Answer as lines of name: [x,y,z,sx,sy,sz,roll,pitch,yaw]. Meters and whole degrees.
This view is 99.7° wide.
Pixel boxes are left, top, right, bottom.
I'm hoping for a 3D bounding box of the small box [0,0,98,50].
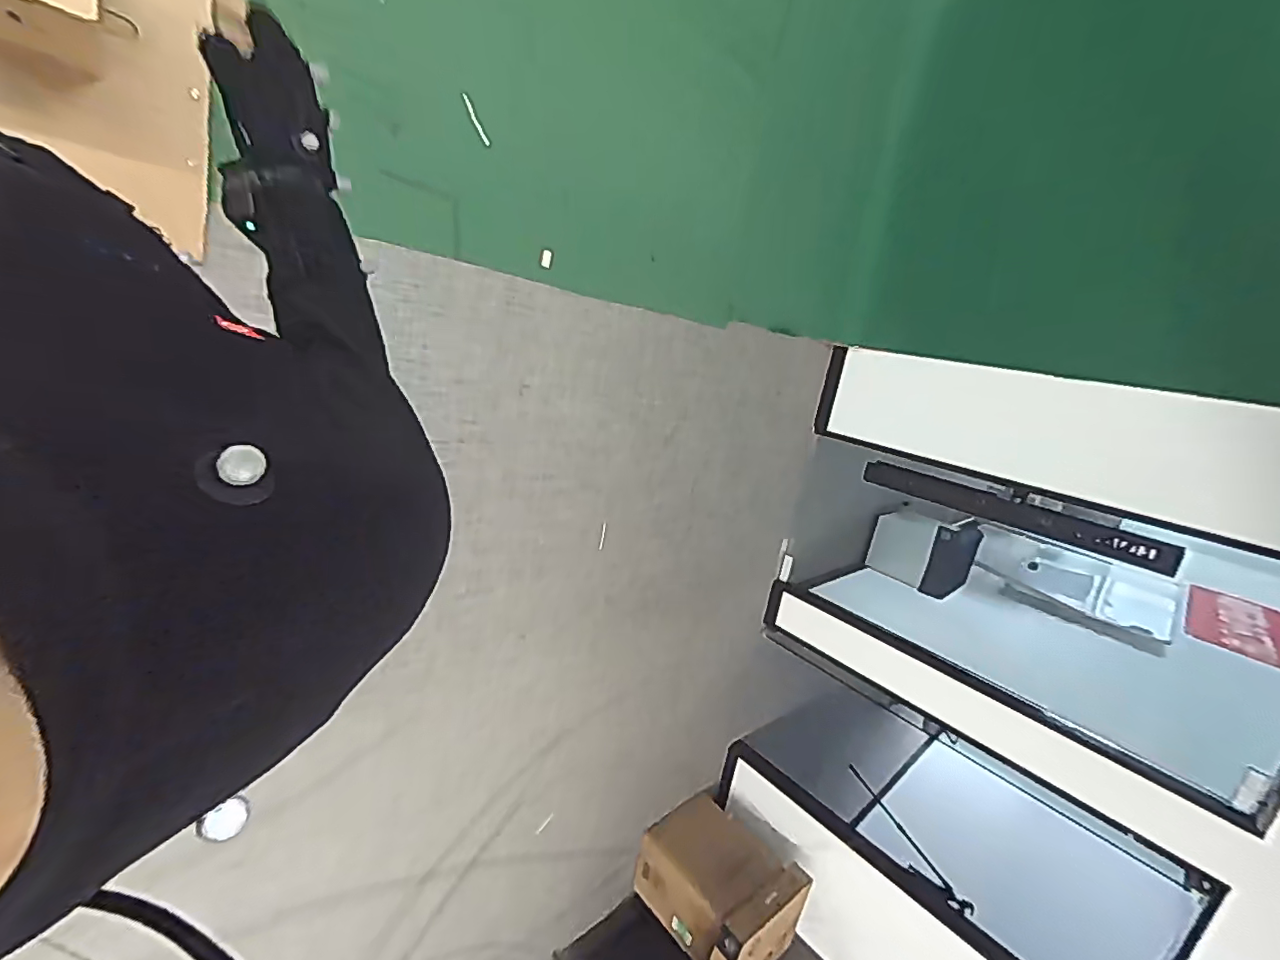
small box: [-0.809,-0.703,0.688,0.168,0.176,0.179,-1,107,-44]
